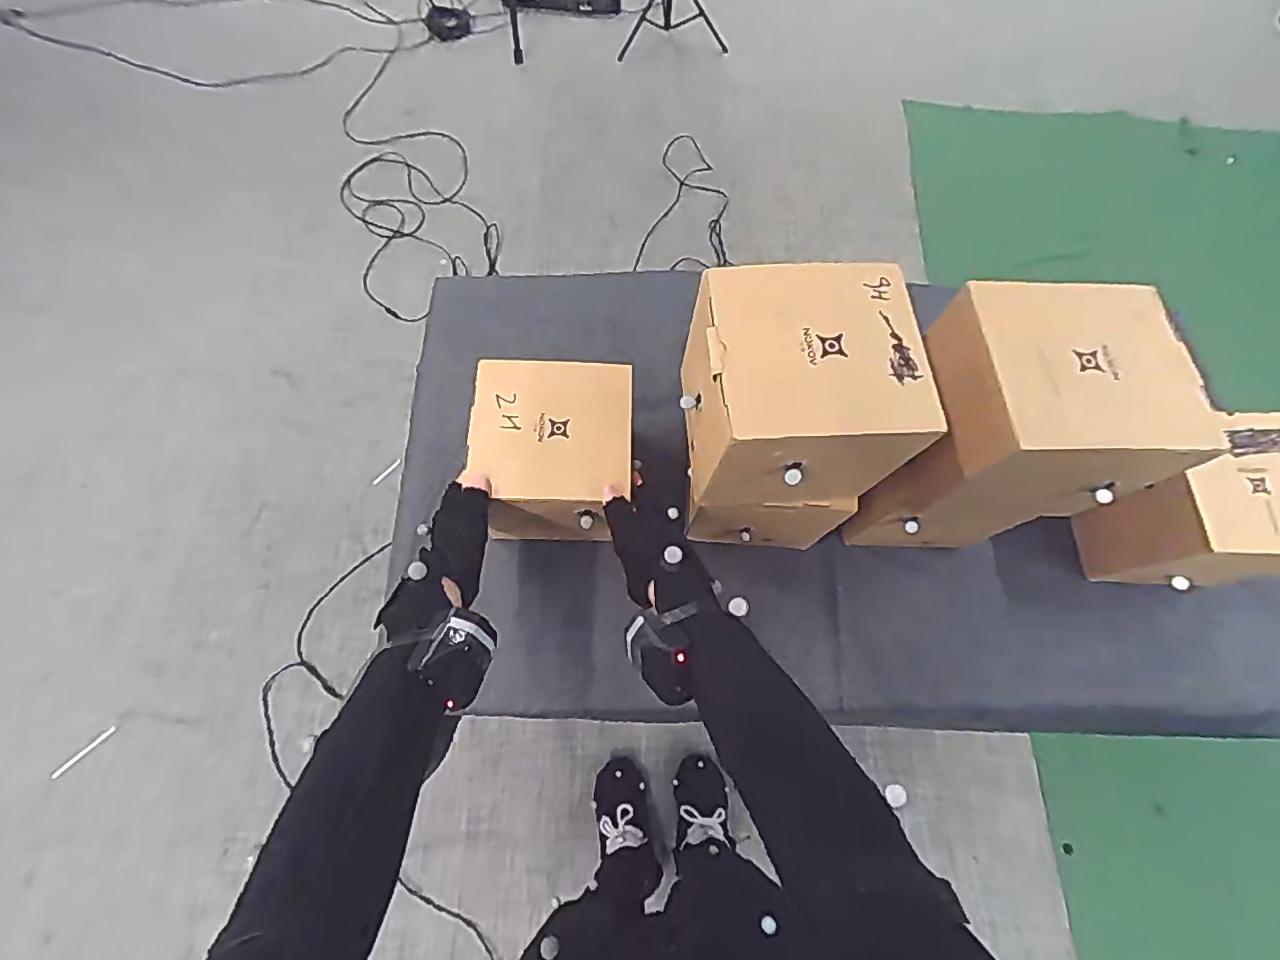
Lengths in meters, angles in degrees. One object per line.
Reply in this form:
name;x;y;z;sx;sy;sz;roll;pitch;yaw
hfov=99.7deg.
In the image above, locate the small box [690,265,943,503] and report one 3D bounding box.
small box;0.145;-0.080;0.520;0.179;0.176;0.168;-3;70;-3
